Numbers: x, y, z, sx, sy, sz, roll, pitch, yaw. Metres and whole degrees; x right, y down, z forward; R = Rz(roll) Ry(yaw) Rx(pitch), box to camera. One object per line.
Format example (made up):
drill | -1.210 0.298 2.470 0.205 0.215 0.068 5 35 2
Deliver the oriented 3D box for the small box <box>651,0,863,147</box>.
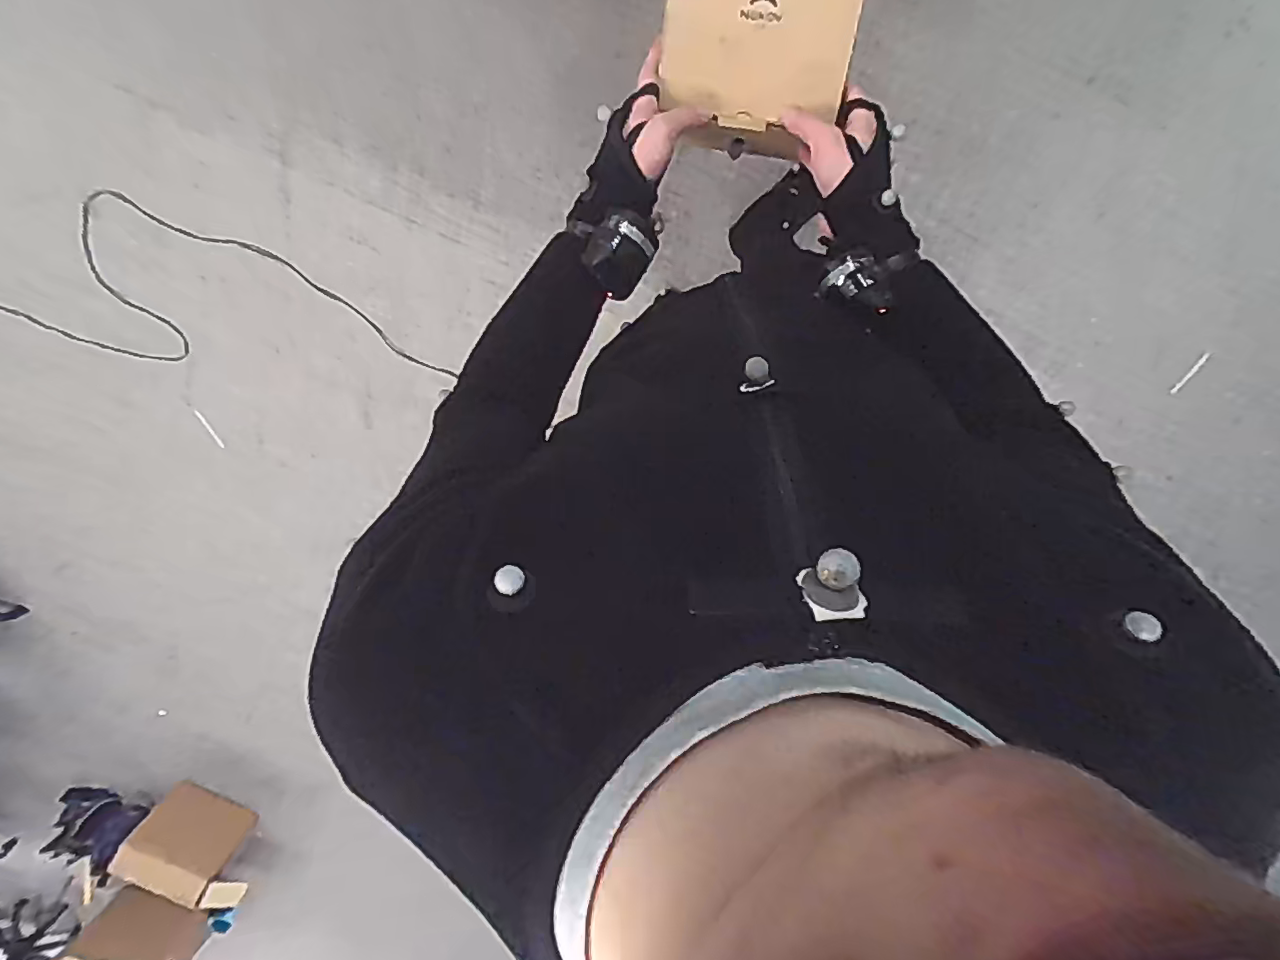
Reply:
small box | 0.110 -0.432 0.511 0.168 0.176 0.179 9 114 3
